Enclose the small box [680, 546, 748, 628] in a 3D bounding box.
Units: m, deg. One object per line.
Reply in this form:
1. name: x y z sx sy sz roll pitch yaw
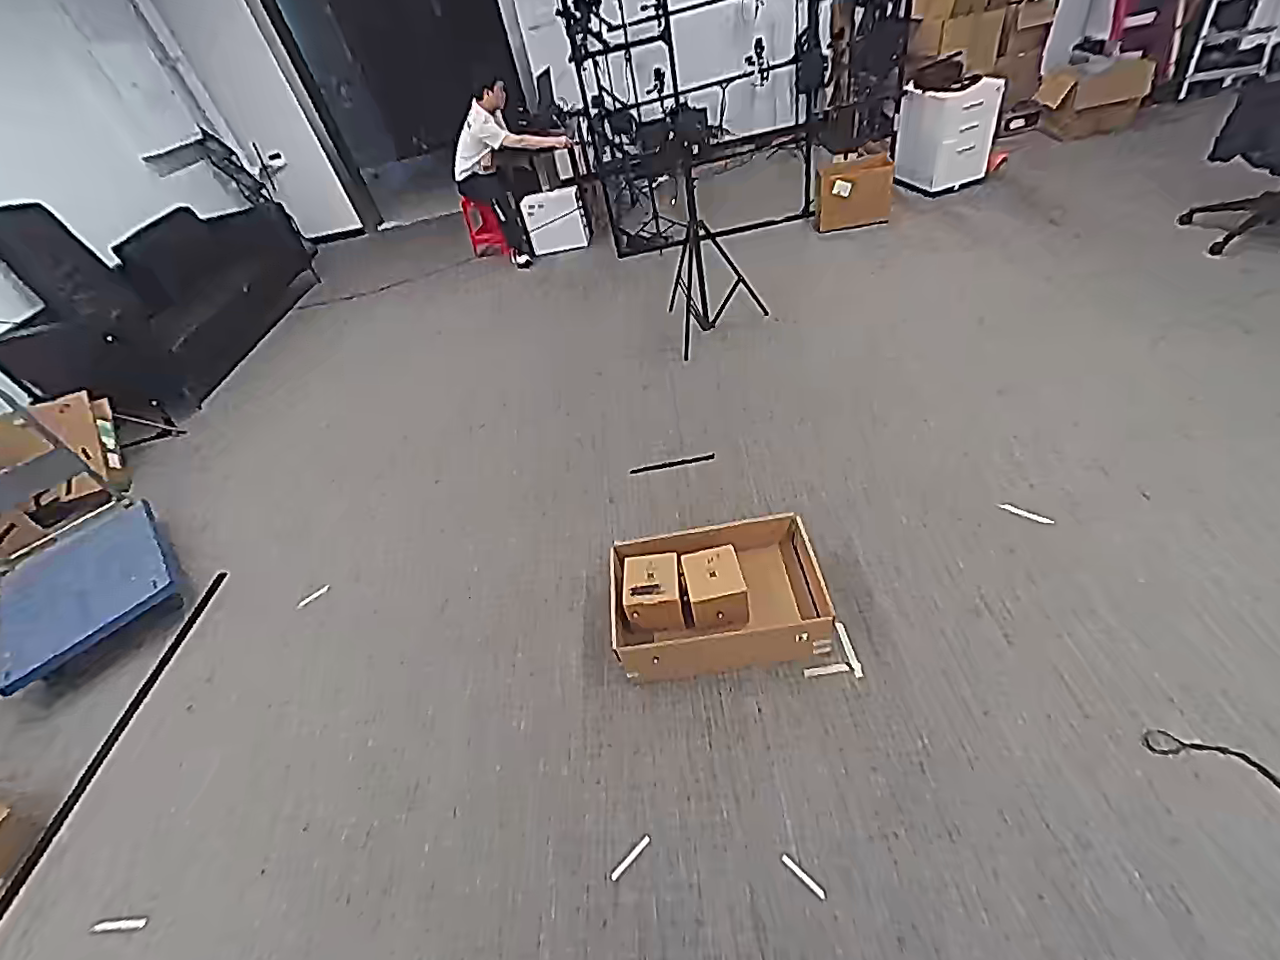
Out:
1. small box: 0.228 0.333 1.645 0.168 0.176 0.179 -13 42 2
